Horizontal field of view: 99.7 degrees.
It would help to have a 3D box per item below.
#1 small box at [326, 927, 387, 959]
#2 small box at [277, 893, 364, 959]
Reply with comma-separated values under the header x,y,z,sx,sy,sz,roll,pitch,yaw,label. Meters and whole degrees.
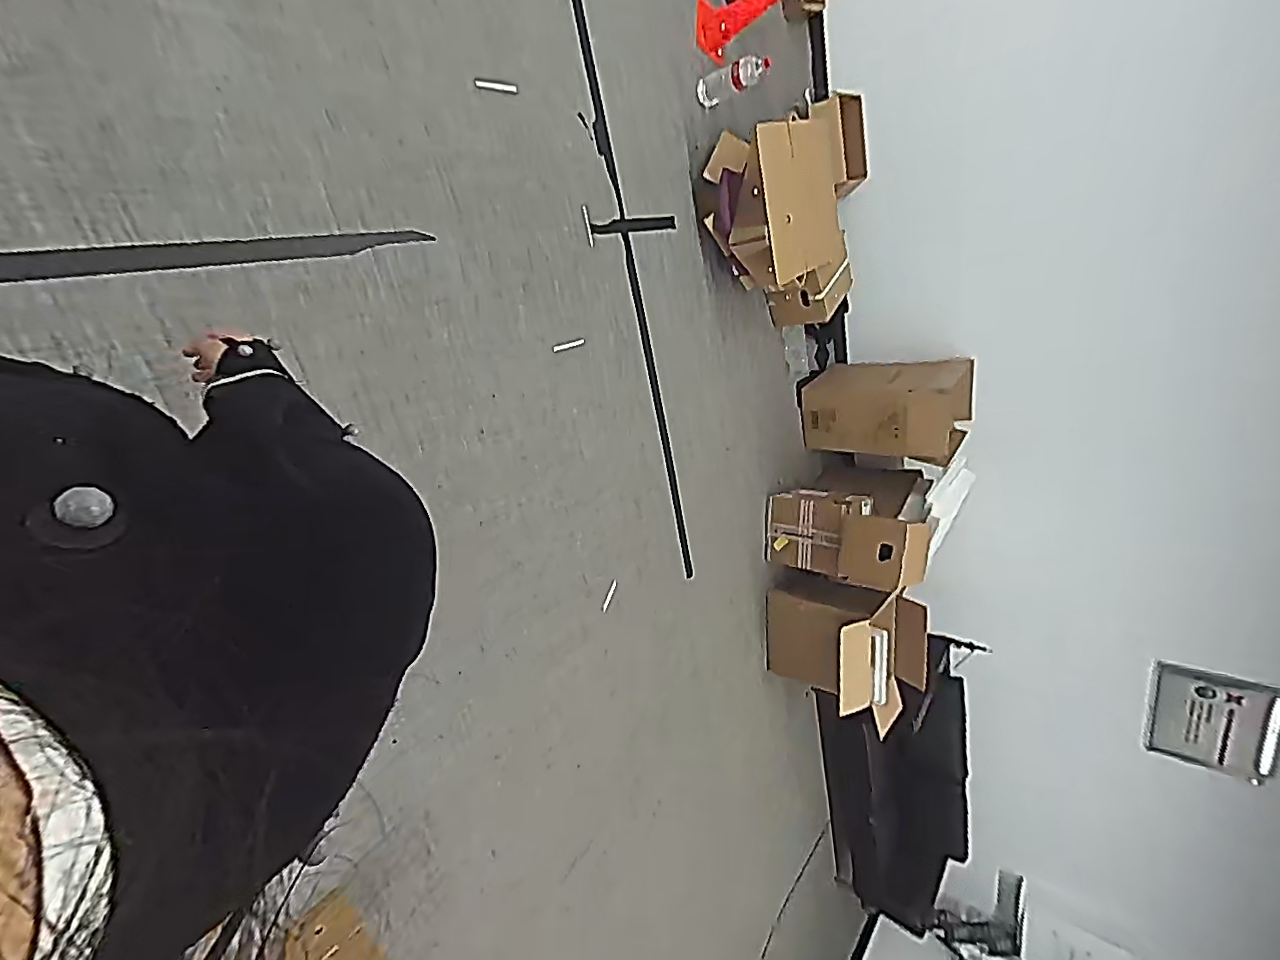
x,y,z,sx,sy,sz,roll,pitch,yaw,label
-0.701,1.268,1.320,0.179,0.176,0.168,-30,118,-43,small box
-0.825,1.250,1.430,0.168,0.176,0.179,-29,116,-43,small box
